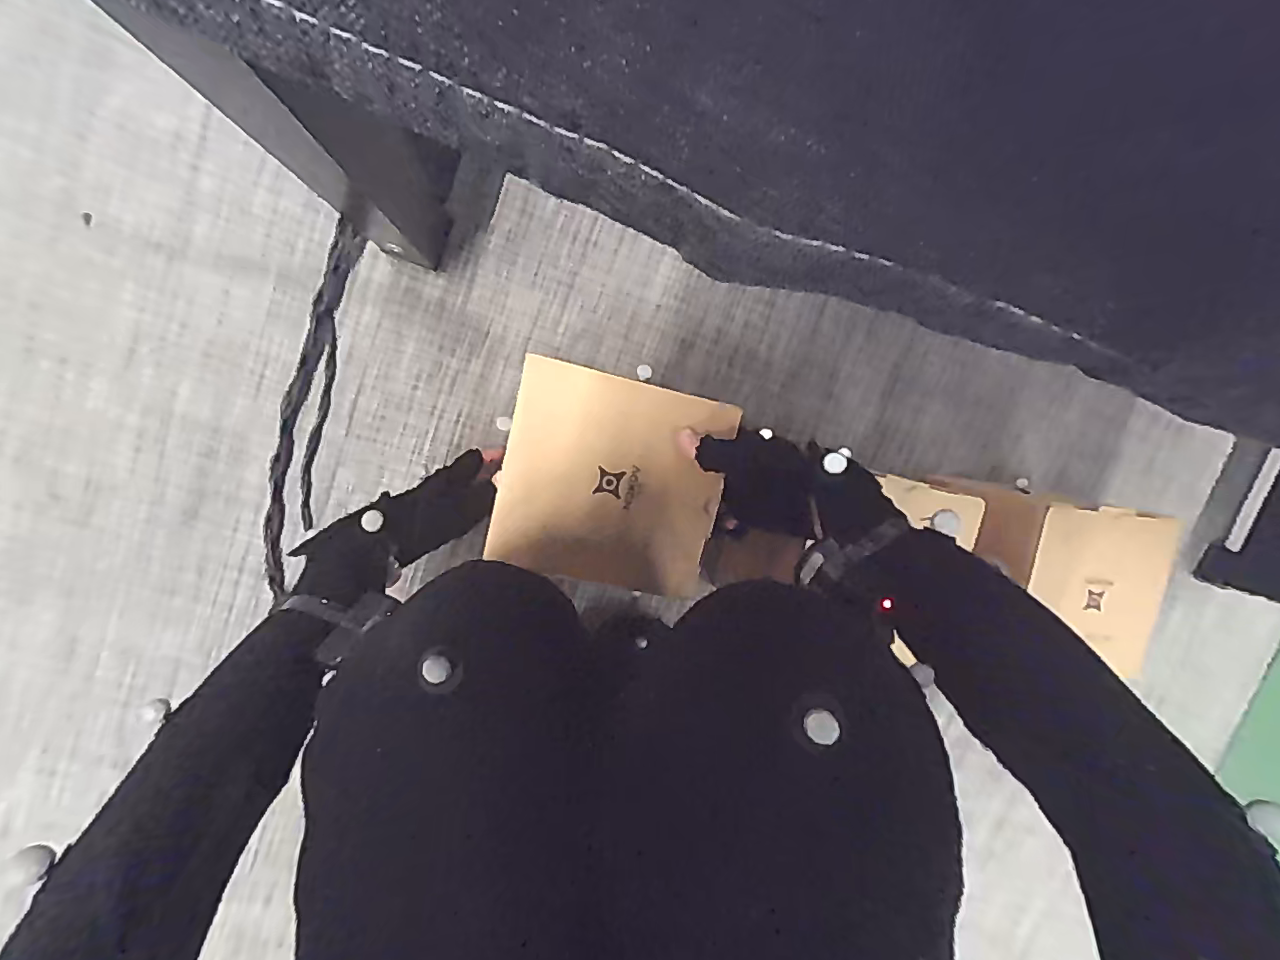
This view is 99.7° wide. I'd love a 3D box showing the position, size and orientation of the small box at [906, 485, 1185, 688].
[{"bbox_3d":[0.429,0.107,0.601,0.168,0.176,0.179,6,98,-12],"label":"small box"}]
